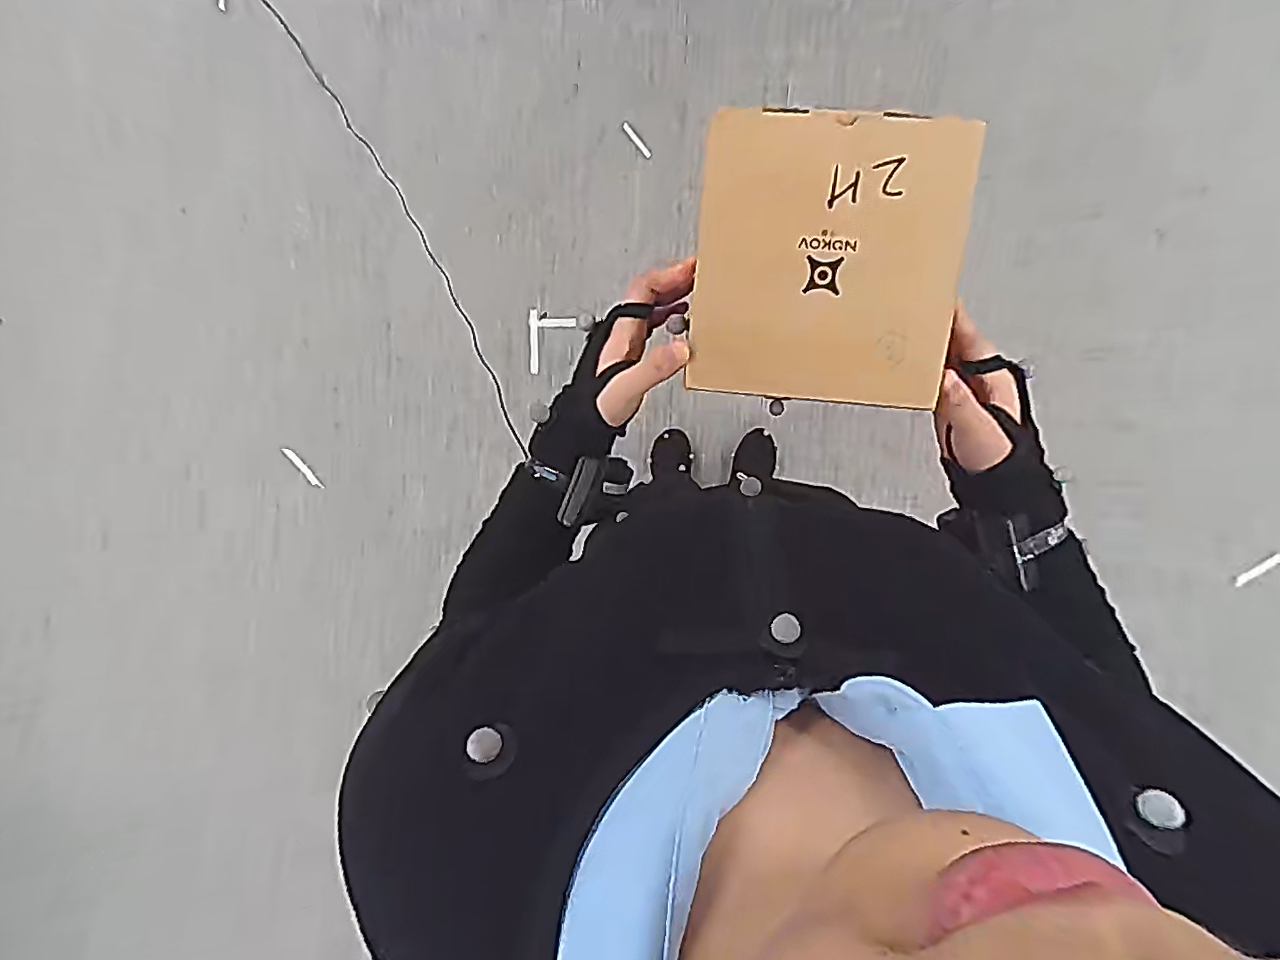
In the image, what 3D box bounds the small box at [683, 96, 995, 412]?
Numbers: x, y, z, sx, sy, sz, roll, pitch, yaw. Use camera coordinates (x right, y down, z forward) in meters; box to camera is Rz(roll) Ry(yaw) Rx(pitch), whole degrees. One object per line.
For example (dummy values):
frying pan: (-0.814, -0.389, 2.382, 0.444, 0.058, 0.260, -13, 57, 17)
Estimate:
small box: (0.125, -0.151, 0.412, 0.168, 0.176, 0.179, 6, 100, 4)
